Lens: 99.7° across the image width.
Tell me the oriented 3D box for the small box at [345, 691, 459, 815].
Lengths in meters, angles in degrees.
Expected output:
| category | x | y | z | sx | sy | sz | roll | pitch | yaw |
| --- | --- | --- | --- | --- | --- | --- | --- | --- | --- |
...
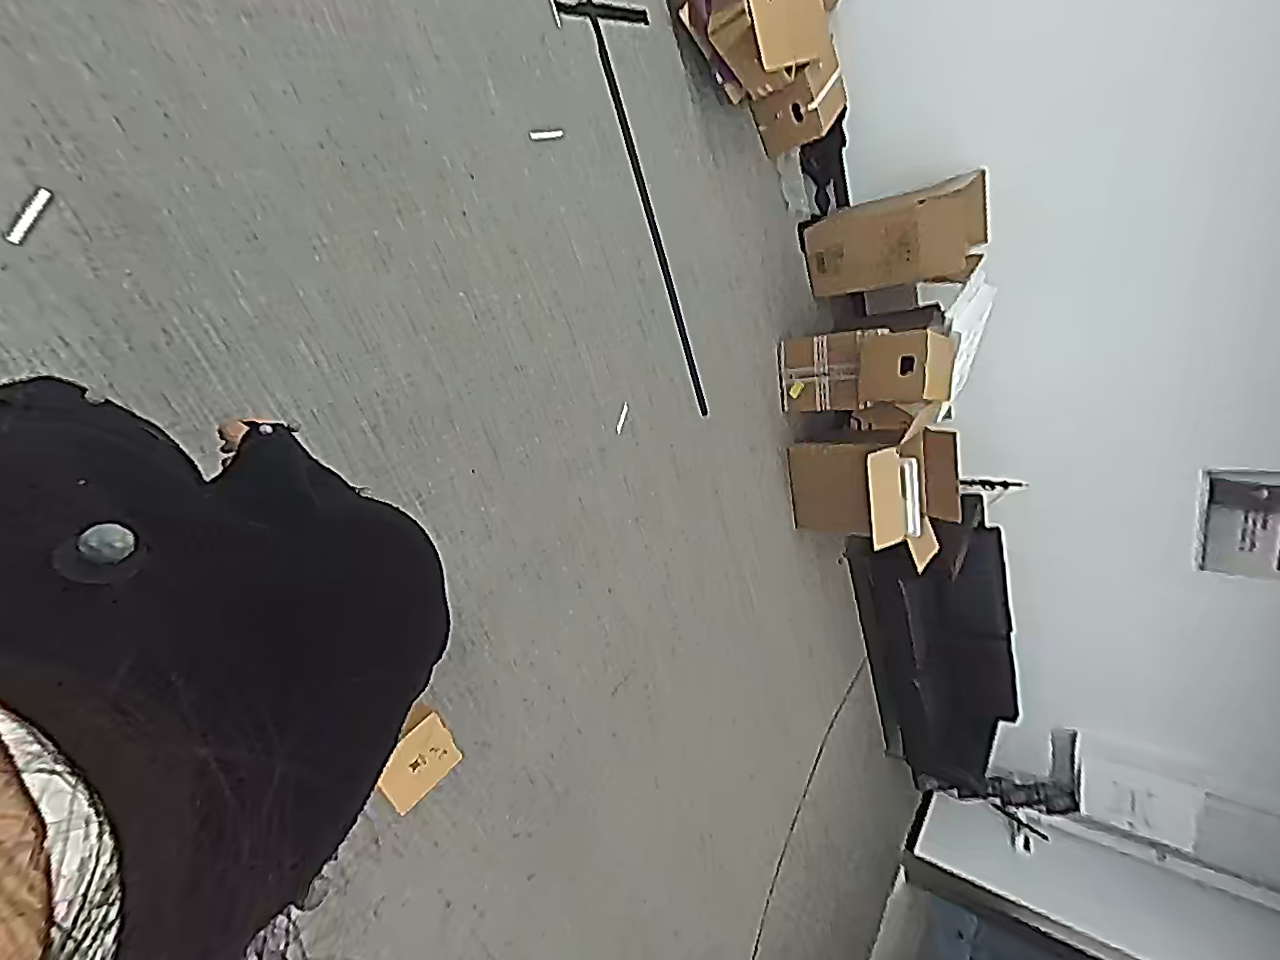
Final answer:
| category | x | y | z | sx | sy | sz | roll | pitch | yaw |
| --- | --- | --- | --- | --- | --- | --- | --- | --- | --- |
| small box | -0.582 | 0.649 | 1.306 | 0.179 | 0.176 | 0.168 | -38 | 120 | -40 |
